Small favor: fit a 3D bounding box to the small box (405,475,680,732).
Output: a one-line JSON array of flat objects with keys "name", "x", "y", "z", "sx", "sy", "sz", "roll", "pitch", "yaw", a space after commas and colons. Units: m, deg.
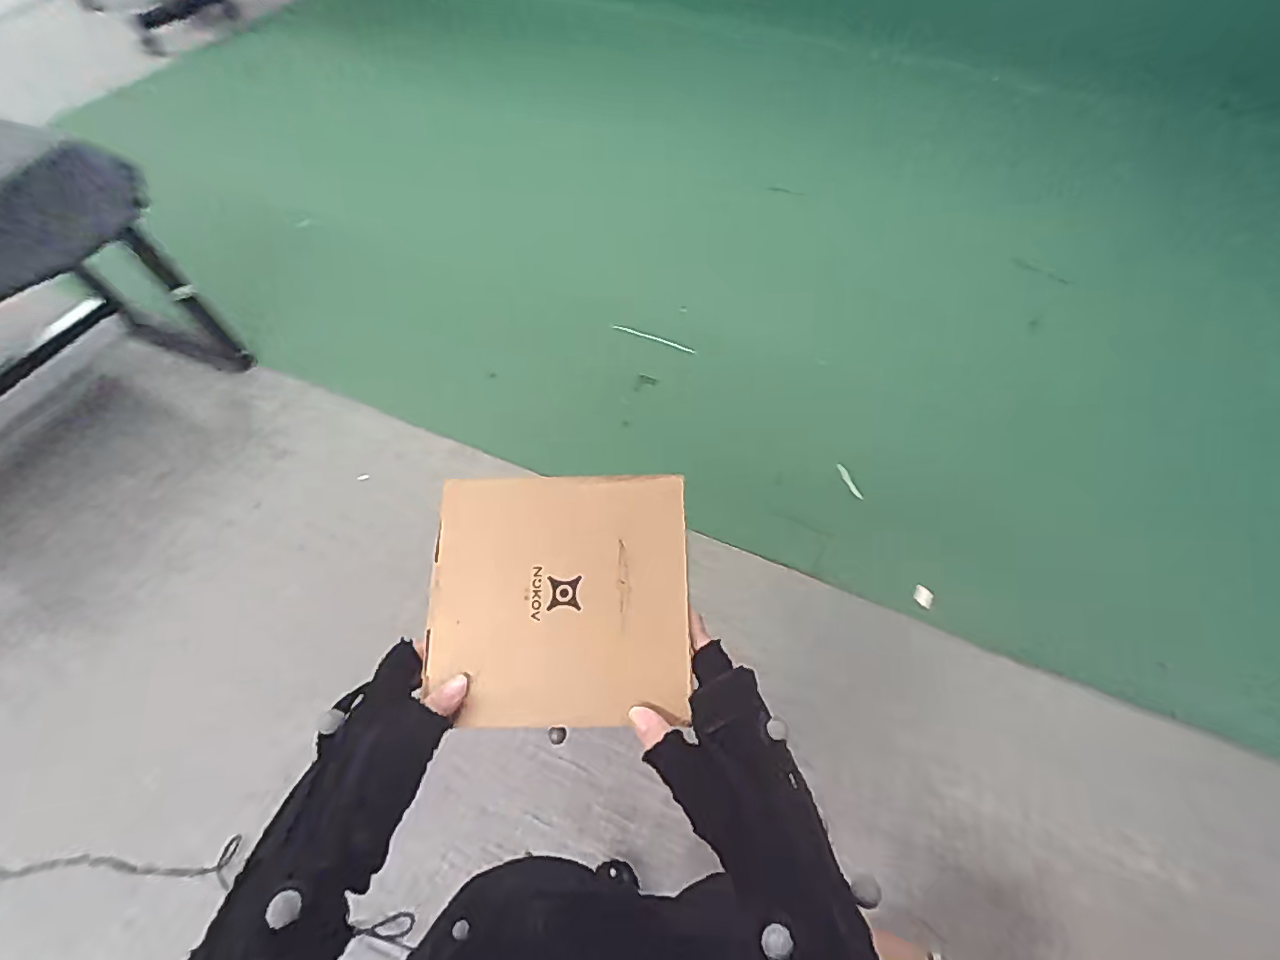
[{"name": "small box", "x": -0.063, "y": 0.102, "z": 0.436, "sx": 0.179, "sy": 0.176, "sz": 0.168, "roll": -3, "pitch": 73, "yaw": -1}]
